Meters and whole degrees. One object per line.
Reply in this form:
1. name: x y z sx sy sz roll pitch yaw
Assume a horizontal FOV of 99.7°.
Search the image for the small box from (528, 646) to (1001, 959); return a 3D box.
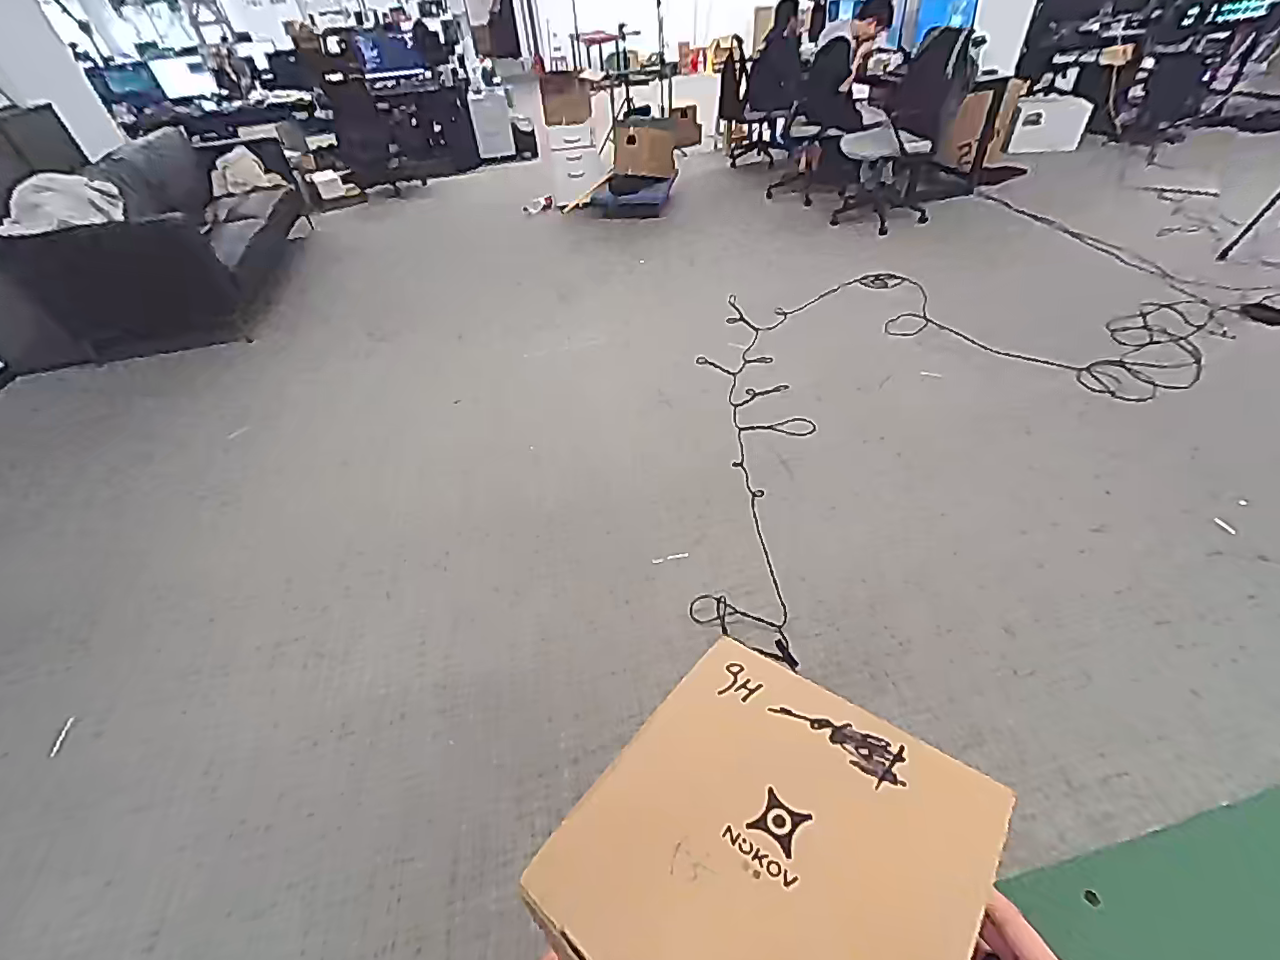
1. small box: 0.071 0.240 0.304 0.168 0.176 0.179 21 44 36
